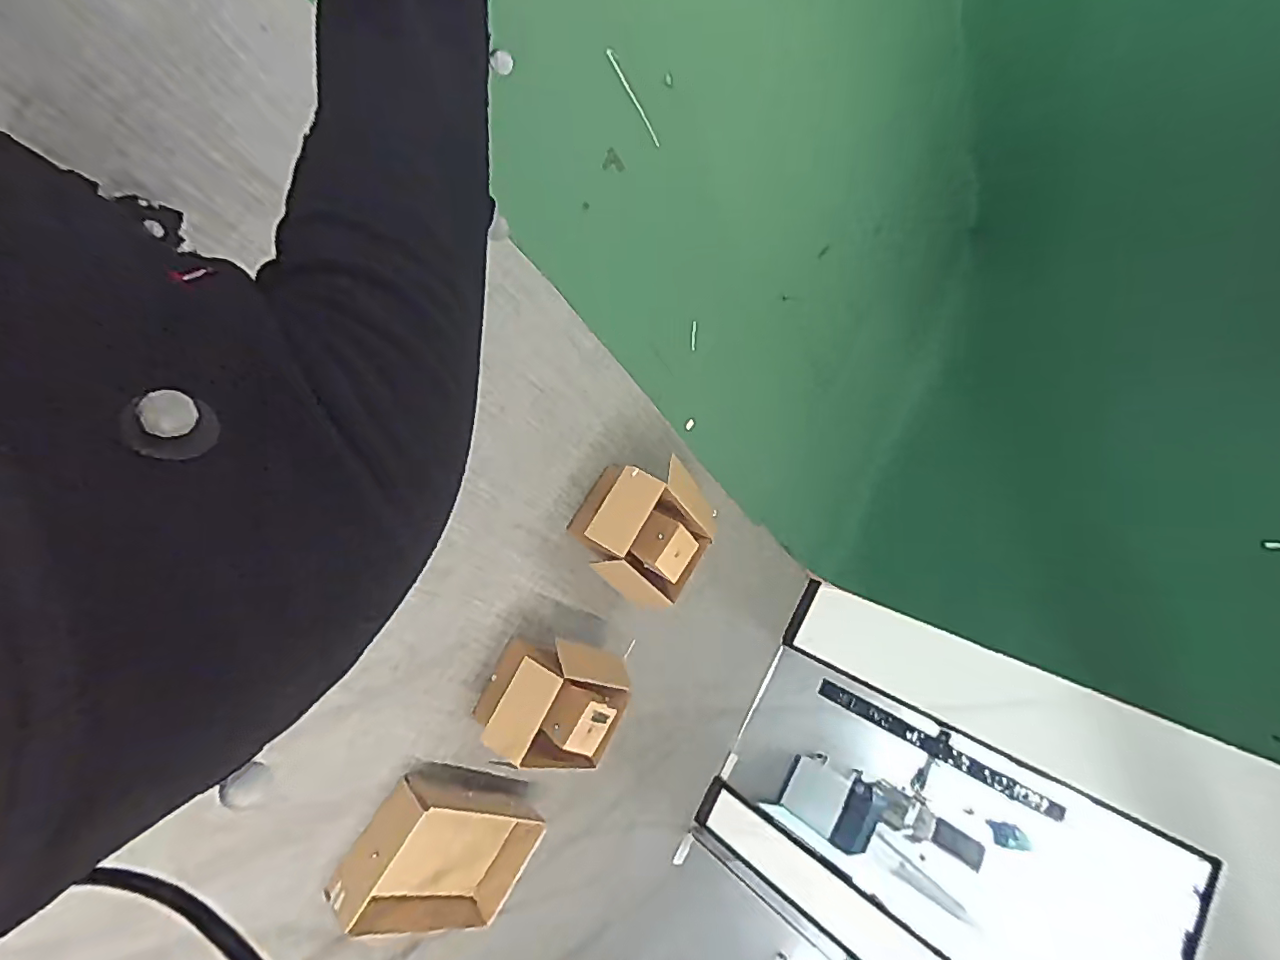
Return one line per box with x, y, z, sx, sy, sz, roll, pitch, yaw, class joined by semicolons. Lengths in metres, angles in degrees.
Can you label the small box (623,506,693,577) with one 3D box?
0.061;0.222;1.993;0.179;0.176;0.168;-56;137;-15;small box
